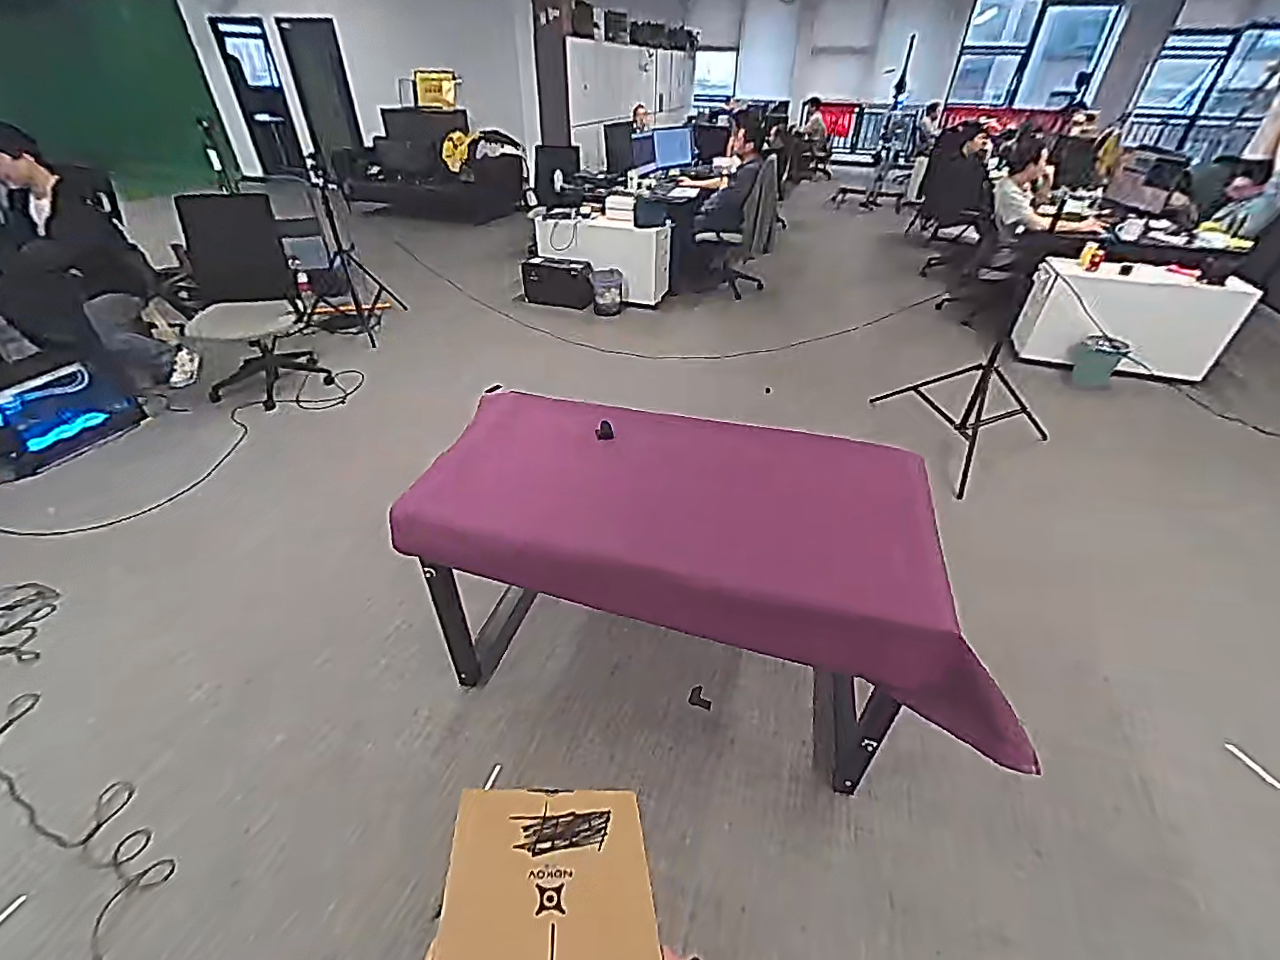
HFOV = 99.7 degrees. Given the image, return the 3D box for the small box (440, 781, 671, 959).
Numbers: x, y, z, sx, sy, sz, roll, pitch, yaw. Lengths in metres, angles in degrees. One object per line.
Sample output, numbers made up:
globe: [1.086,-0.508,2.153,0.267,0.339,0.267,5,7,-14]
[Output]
small box: [-0.081,0.392,0.458,0.168,0.176,0.179,8,19,-12]
